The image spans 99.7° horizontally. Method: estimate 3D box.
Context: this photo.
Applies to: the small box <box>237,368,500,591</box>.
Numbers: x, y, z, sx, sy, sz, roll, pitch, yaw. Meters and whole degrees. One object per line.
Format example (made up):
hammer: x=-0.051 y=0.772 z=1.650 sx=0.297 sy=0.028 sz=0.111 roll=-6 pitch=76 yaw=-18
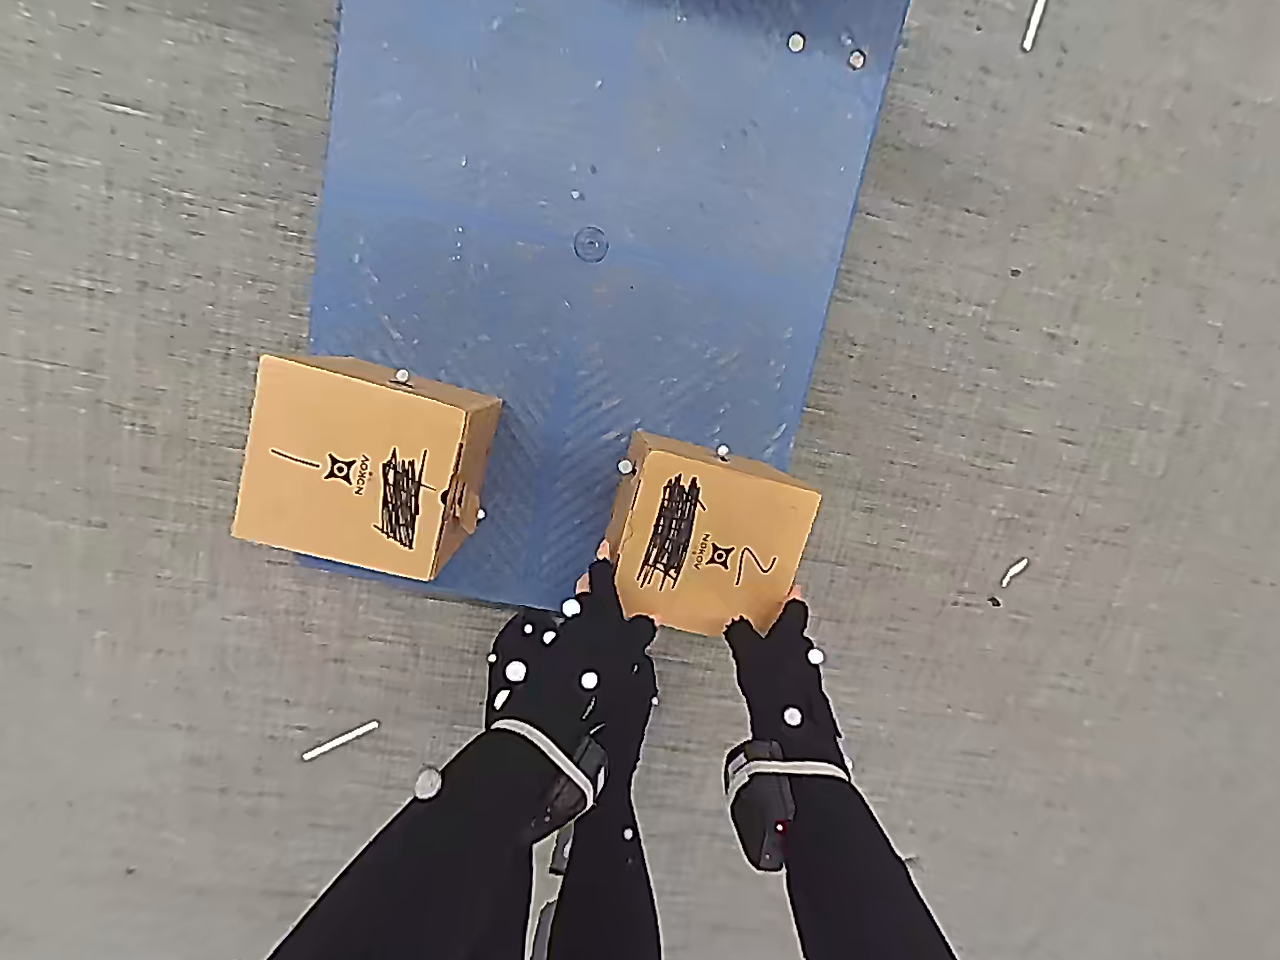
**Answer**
small box: x=-0.255 y=-0.012 z=0.550 sx=0.179 sy=0.176 sz=0.168 roll=16 pitch=99 yaw=-7
